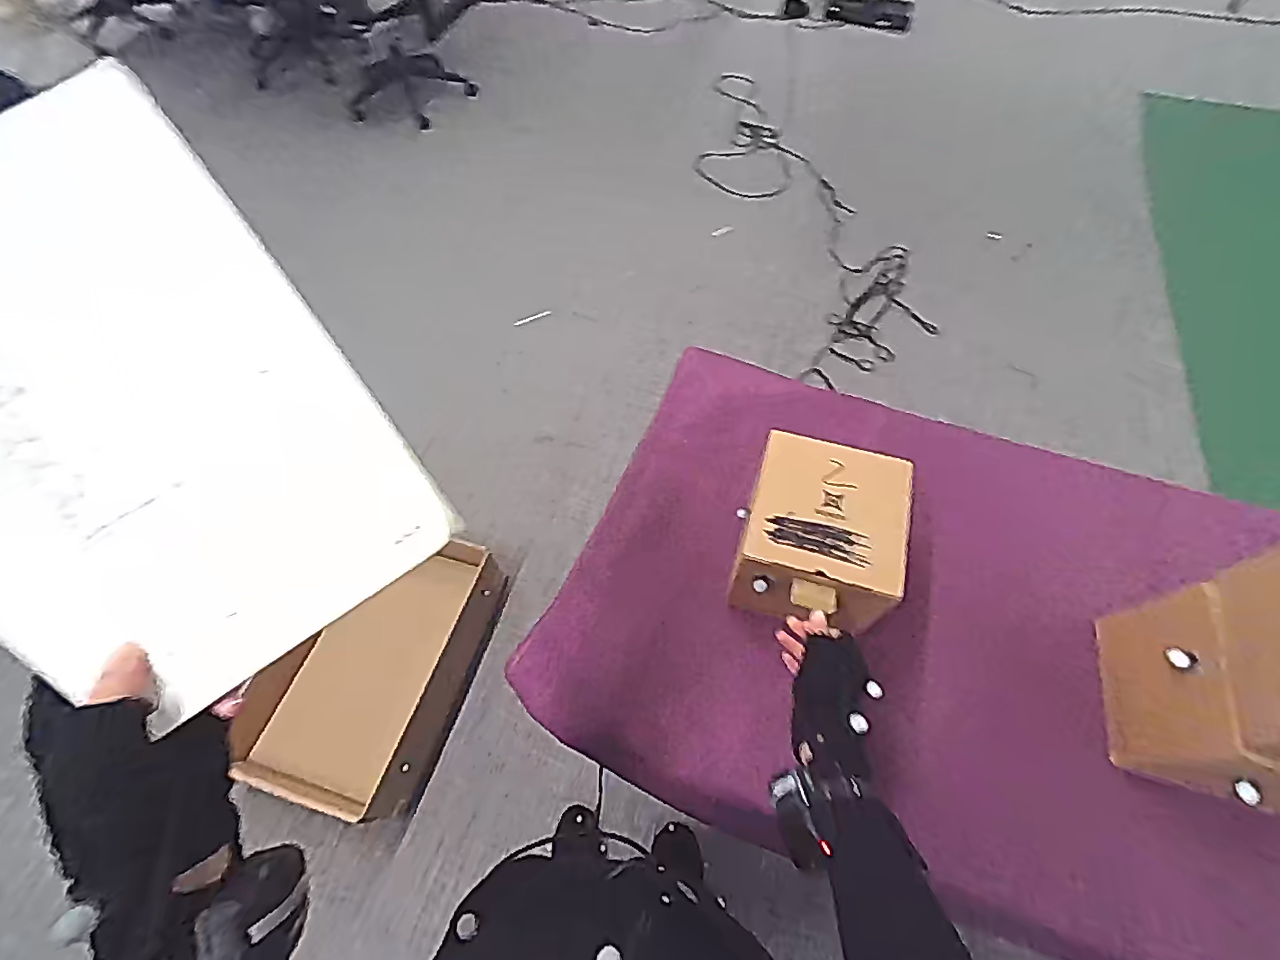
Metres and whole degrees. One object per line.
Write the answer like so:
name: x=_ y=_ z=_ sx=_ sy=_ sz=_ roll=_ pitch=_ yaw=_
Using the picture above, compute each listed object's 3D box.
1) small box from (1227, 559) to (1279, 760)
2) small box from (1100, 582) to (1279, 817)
small box: x=0.634 y=0.149 z=0.428 sx=0.168 sy=0.176 sz=0.179 roll=18 pitch=62 yaw=12
small box: x=0.634 y=0.237 z=0.569 sx=0.168 sy=0.176 sz=0.179 roll=15 pitch=61 yaw=10
